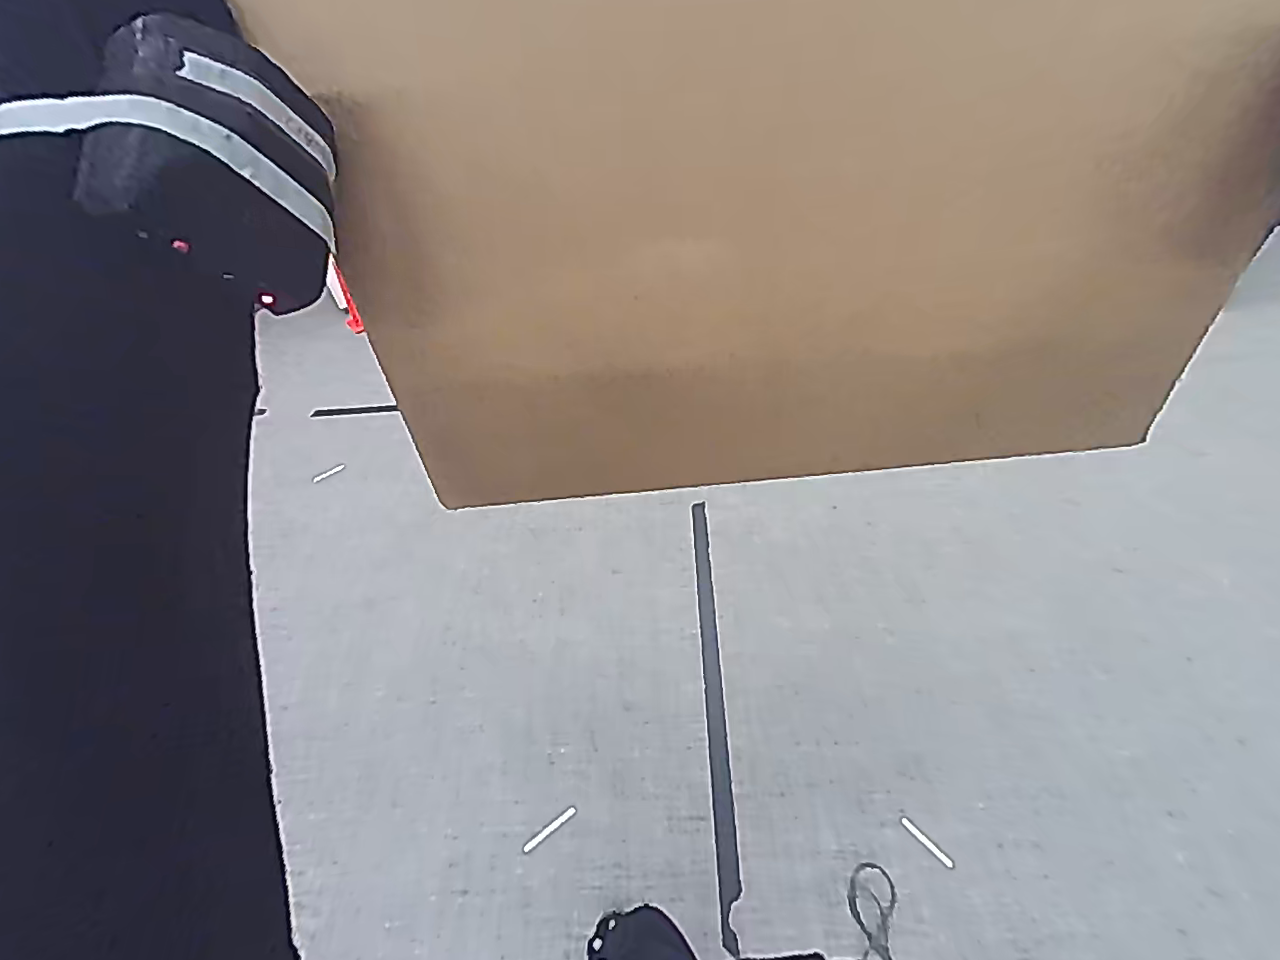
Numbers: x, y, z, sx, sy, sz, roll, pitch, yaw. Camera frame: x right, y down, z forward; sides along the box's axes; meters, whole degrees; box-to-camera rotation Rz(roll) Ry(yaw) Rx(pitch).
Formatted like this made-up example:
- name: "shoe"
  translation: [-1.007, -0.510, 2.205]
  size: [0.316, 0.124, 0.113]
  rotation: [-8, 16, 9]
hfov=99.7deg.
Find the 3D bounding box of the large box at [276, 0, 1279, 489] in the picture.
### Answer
- name: "large box"
  translation: [0.063, -0.218, 0.351]
  size: [0.408, 0.320, 0.320]
  rotation: [-5, 39, 0]
